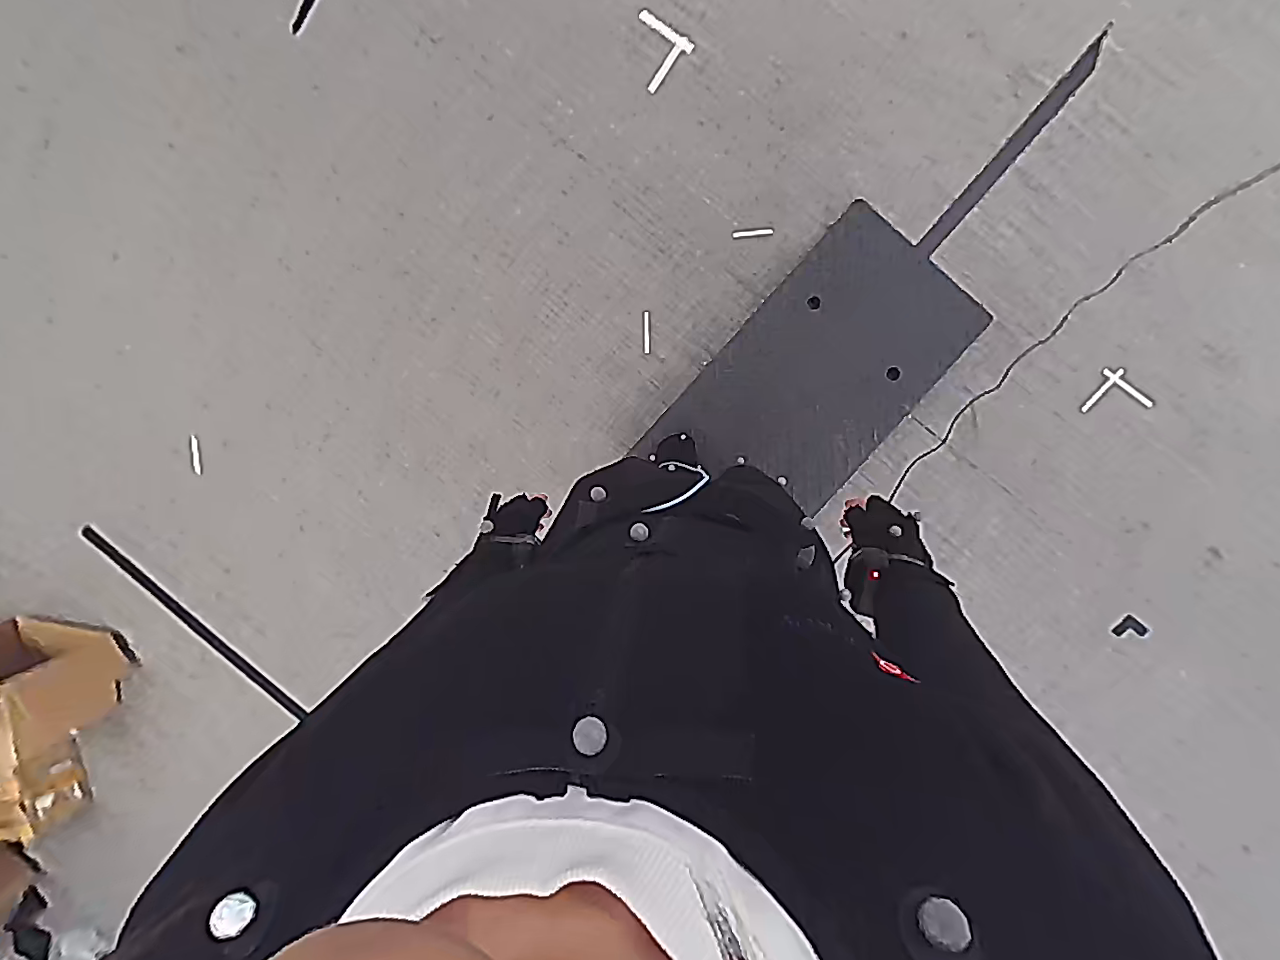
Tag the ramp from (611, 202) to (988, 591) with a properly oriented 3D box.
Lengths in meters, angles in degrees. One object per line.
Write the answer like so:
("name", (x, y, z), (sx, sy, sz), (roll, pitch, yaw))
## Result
("ramp", (0.424, -0.229, 1.456), (0.509, 0.206, 0.991), (40, 100, 2))
